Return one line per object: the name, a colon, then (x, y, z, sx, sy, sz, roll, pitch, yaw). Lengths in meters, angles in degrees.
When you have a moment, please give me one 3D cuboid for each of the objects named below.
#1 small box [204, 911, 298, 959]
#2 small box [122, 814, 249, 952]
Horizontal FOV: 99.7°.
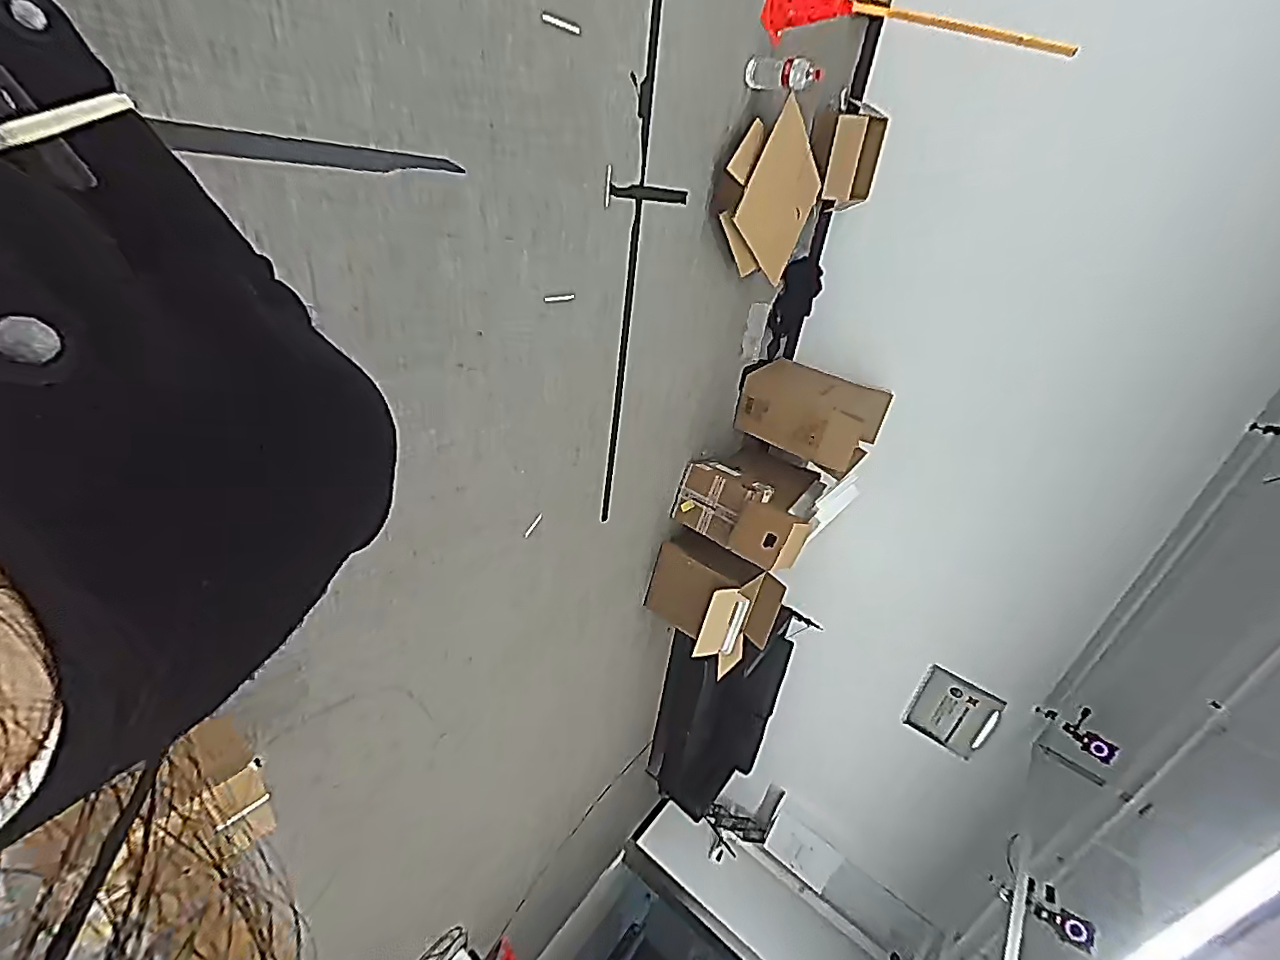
small box: (-0.842, 1.094, 1.154, 0.179, 0.176, 0.168, -25, 133, -48)
small box: (-1.100, 0.967, 1.313, 0.179, 0.176, 0.168, -28, 134, -45)
